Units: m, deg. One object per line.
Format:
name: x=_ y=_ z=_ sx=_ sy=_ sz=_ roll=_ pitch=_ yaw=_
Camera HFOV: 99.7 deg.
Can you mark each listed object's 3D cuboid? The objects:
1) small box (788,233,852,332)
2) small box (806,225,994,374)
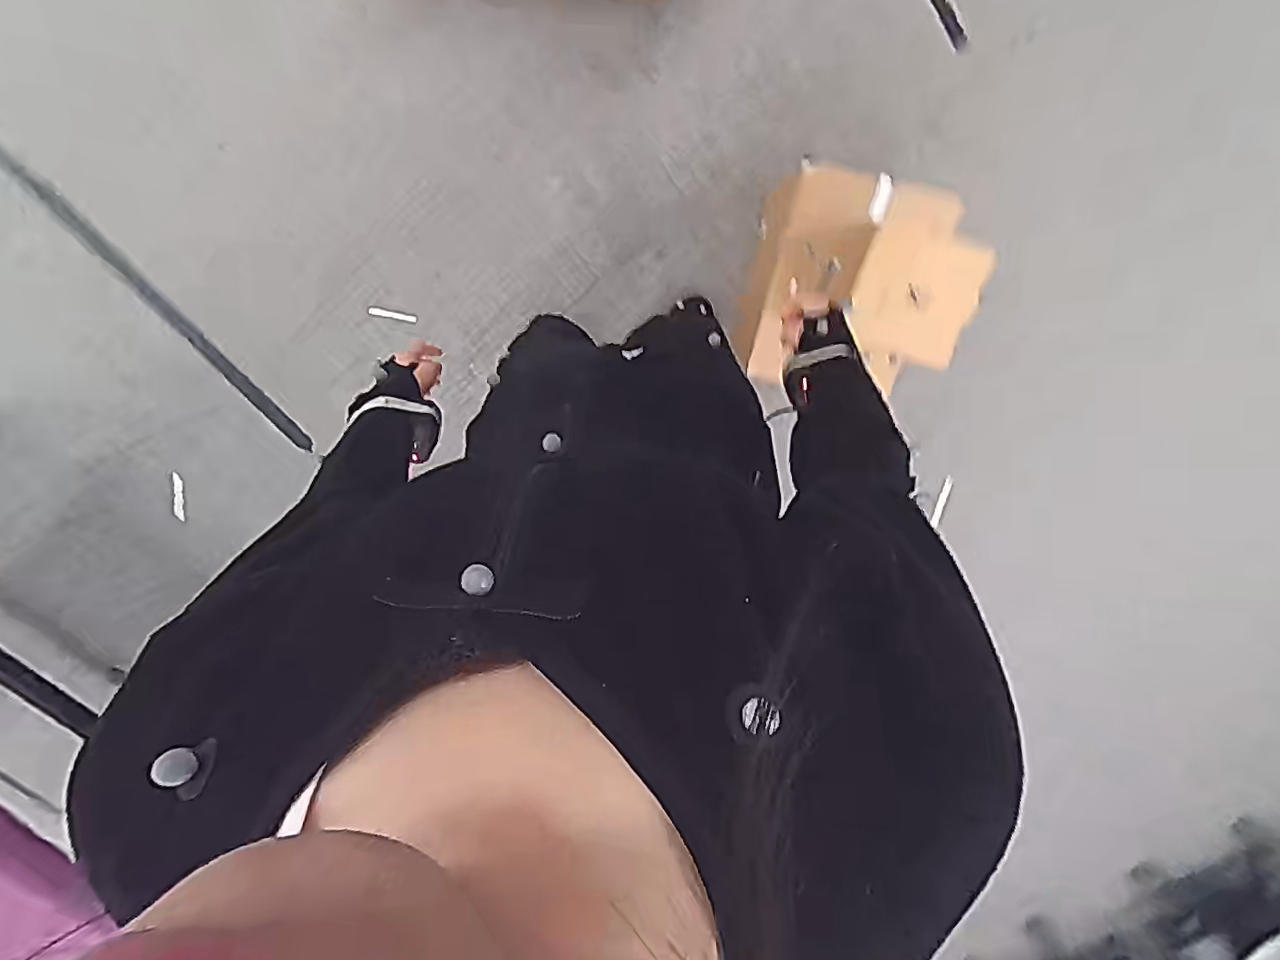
small box: x=0.392 y=-0.339 z=0.992 sx=0.179 sy=0.176 sz=0.168 roll=13 pitch=111 yaw=-6
small box: x=0.387 y=-0.280 z=0.840 sx=0.179 sy=0.176 sz=0.168 roll=15 pitch=109 yaw=-5
